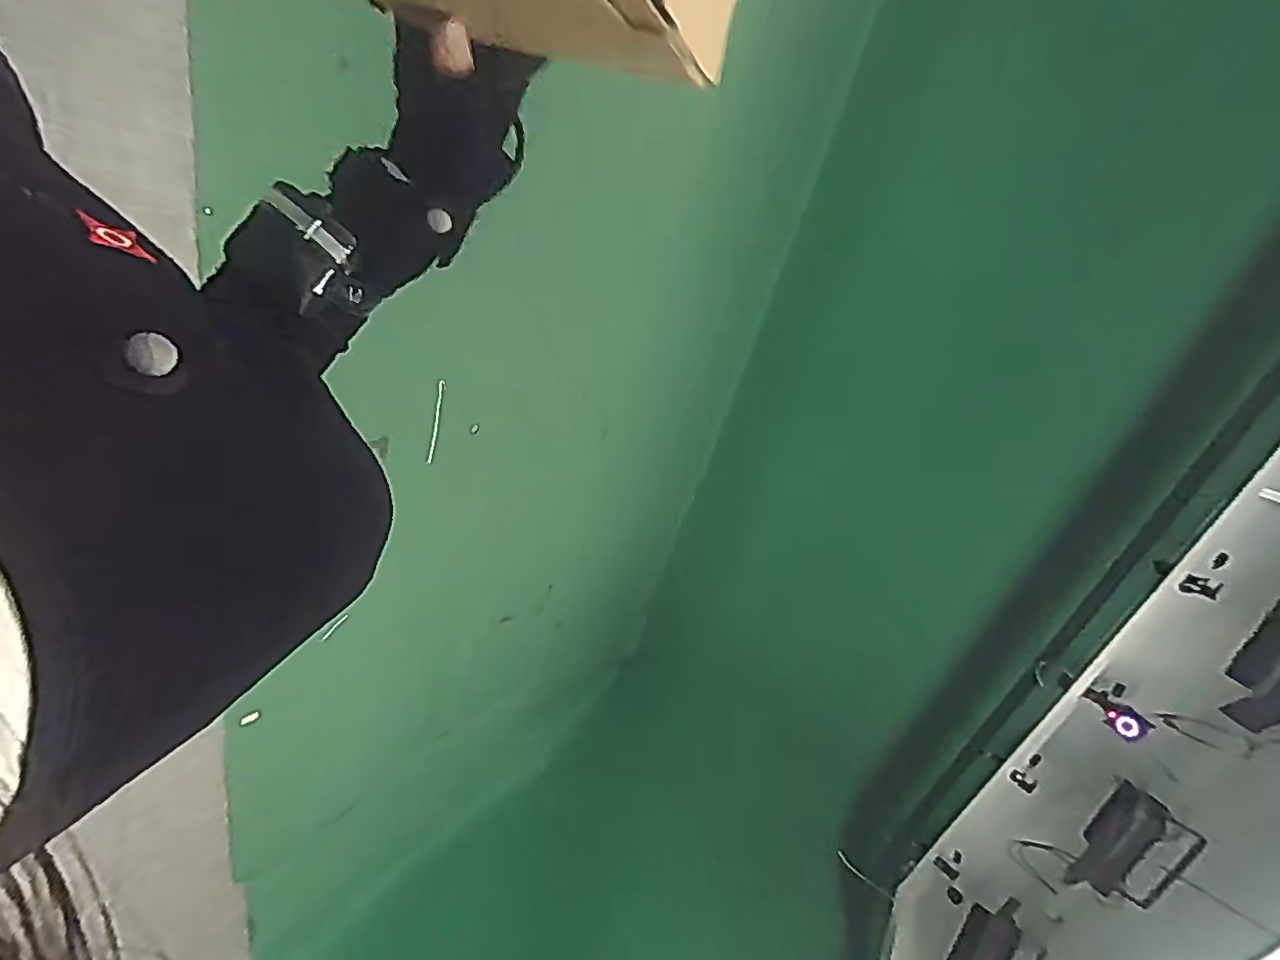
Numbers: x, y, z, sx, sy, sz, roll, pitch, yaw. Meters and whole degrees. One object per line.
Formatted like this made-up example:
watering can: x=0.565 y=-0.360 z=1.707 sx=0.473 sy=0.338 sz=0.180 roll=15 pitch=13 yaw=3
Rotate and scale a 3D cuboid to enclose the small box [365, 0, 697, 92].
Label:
small box: x=-0.061 y=-0.270 z=0.172 sx=0.168 sy=0.176 sz=0.179 roll=-43 pitch=152 yaw=-66
